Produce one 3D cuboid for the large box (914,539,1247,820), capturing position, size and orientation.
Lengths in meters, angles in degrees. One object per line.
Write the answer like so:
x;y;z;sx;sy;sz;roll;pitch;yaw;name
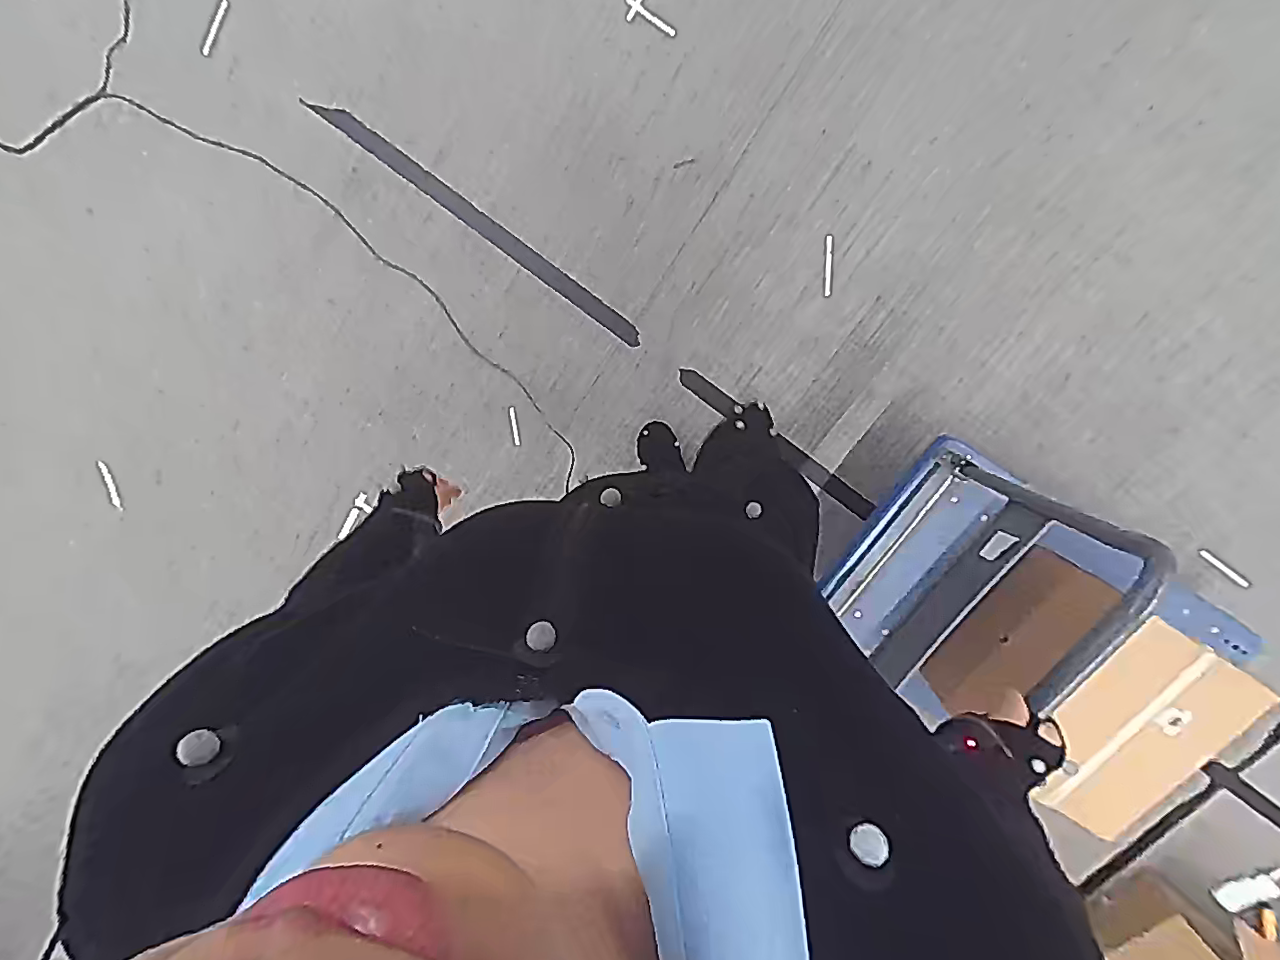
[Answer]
0.891;0.404;1.168;0.320;0.320;0.408;33;103;-2;large box
